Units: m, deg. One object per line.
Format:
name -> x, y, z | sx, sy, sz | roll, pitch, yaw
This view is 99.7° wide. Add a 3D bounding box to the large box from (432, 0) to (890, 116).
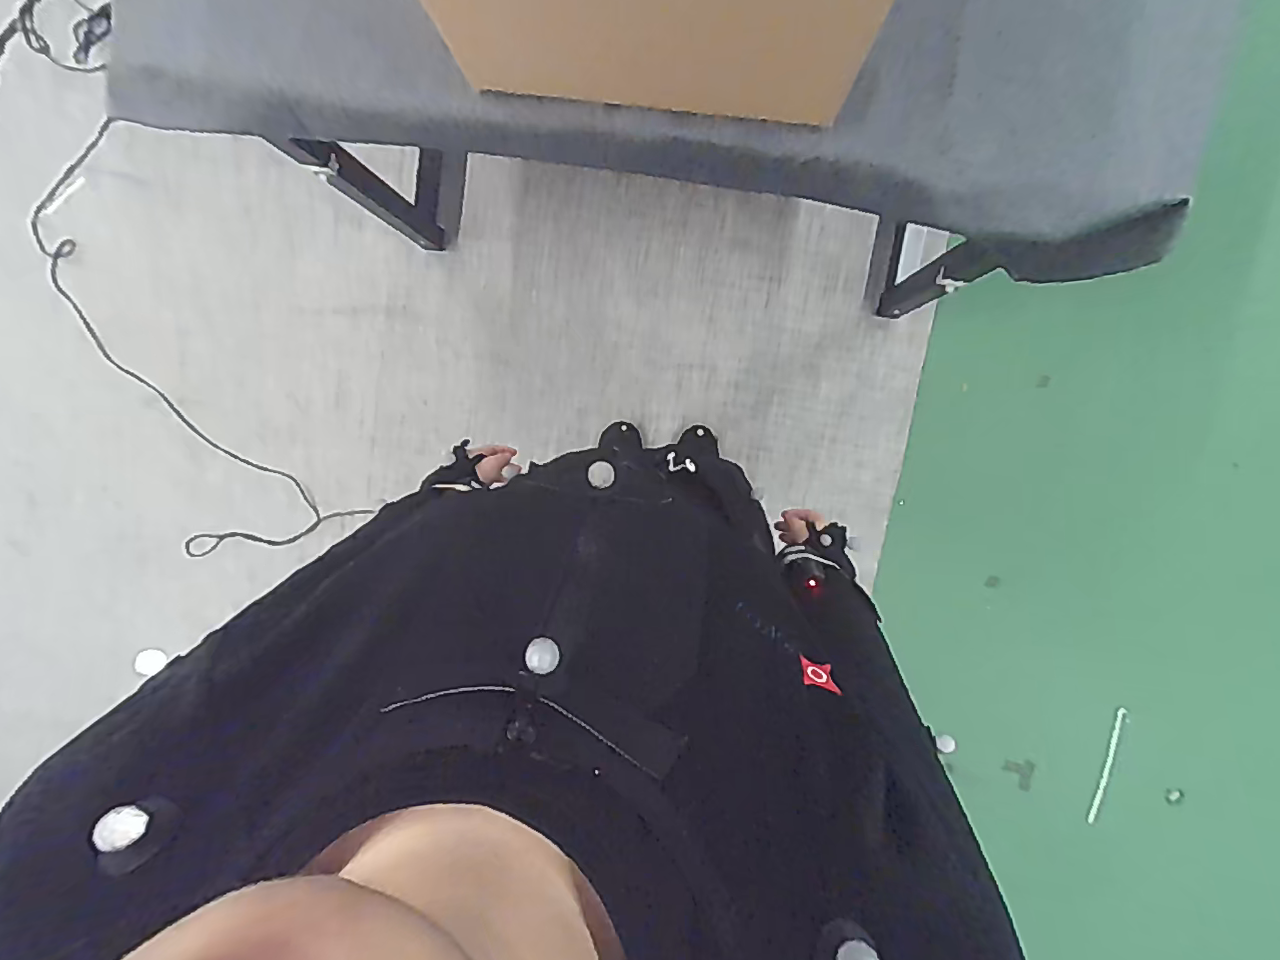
large box -> 0.021, -0.553, 0.437 | 0.408, 0.320, 0.320 | 7, 95, 2
